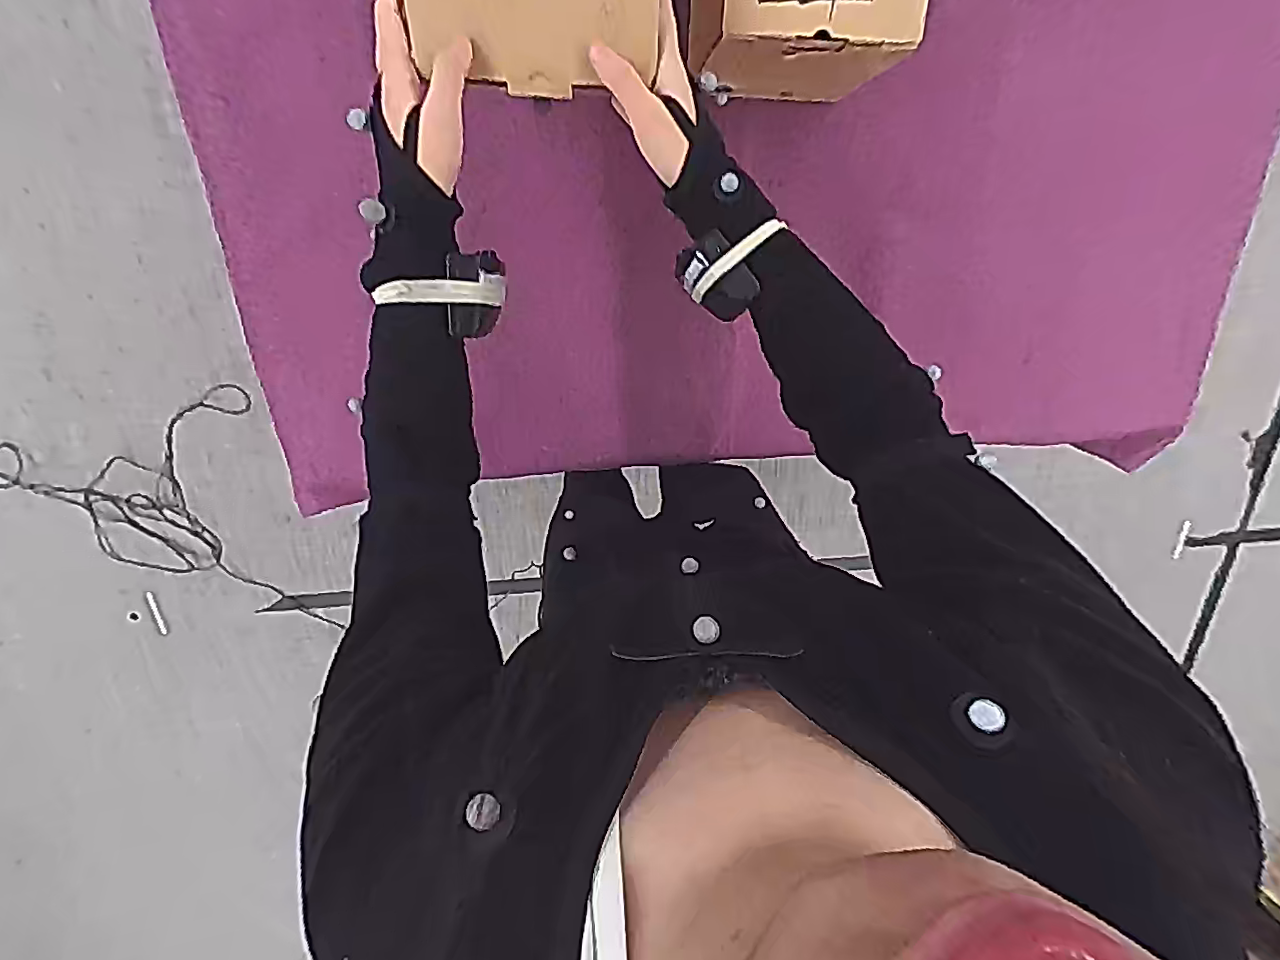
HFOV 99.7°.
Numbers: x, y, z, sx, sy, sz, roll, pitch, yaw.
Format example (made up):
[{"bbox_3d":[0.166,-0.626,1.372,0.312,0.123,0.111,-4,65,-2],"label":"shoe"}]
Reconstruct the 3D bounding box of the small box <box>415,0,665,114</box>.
[{"bbox_3d":[-0.069,-0.383,0.399,0.168,0.176,0.179,-2,126,-5],"label":"small box"}]

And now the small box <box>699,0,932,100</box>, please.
[{"bbox_3d":[0.150,-0.463,0.479,0.168,0.176,0.179,1,111,-5],"label":"small box"}]
